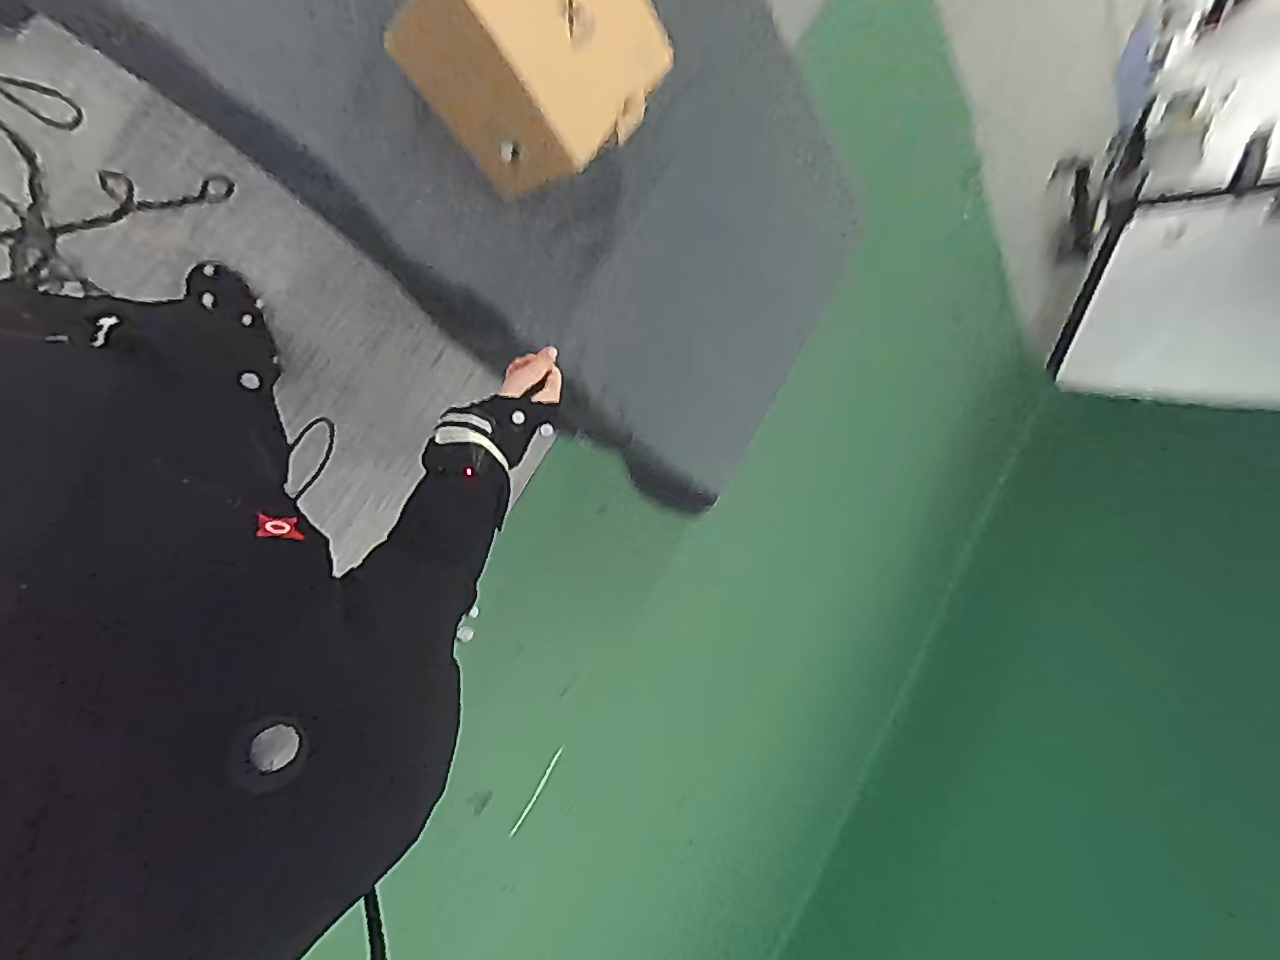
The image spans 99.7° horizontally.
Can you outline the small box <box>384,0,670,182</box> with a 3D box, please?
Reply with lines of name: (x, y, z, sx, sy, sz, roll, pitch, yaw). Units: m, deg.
small box: (-0.110, -0.421, 0.526, 0.179, 0.176, 0.168, 45, 73, -37)
